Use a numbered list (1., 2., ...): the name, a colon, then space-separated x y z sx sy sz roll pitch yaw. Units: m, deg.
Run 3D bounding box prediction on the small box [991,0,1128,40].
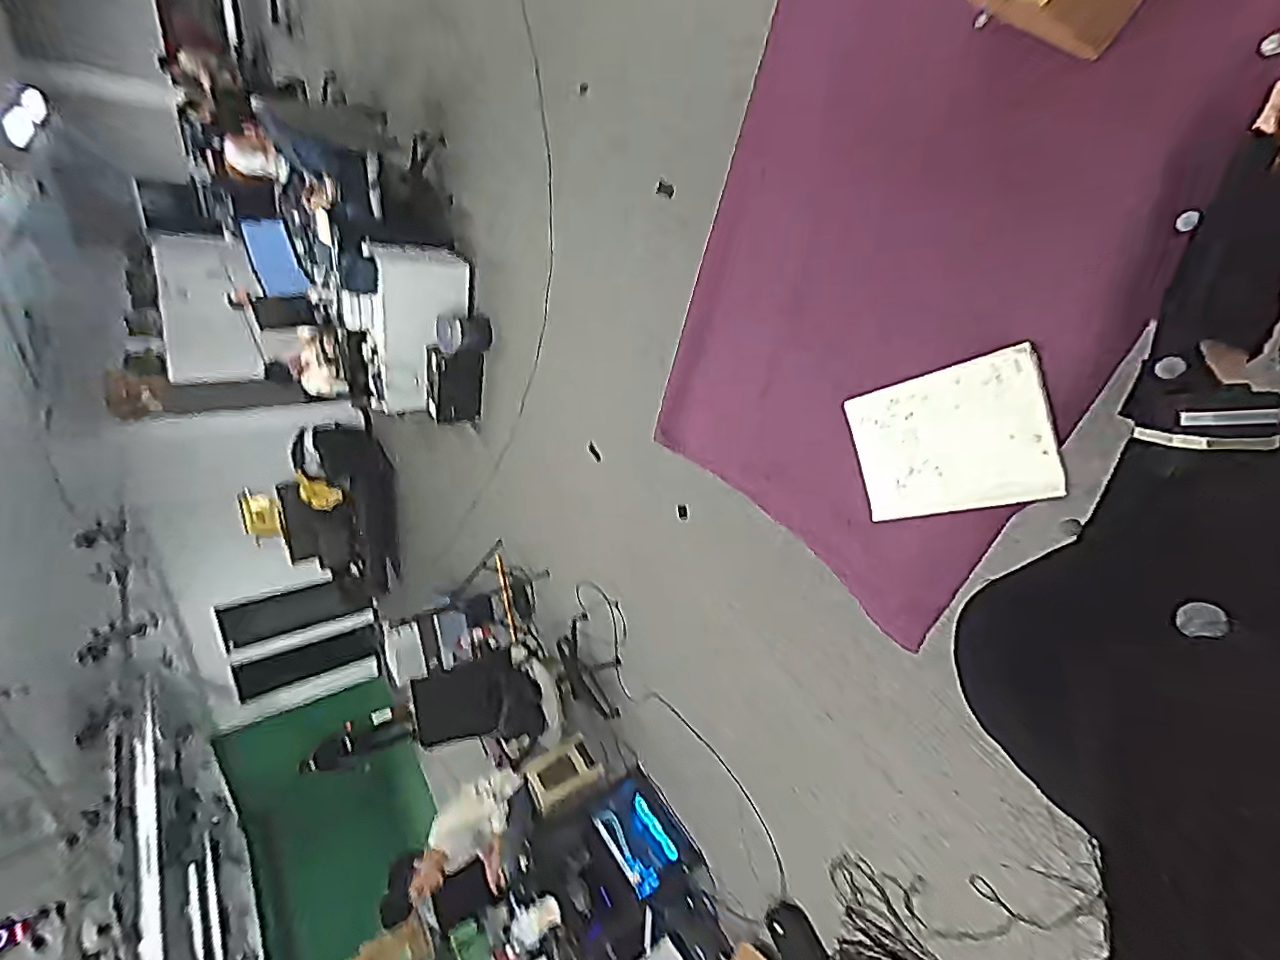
1. small box: 0.412 -0.563 0.510 0.168 0.176 0.179 56 139 27
